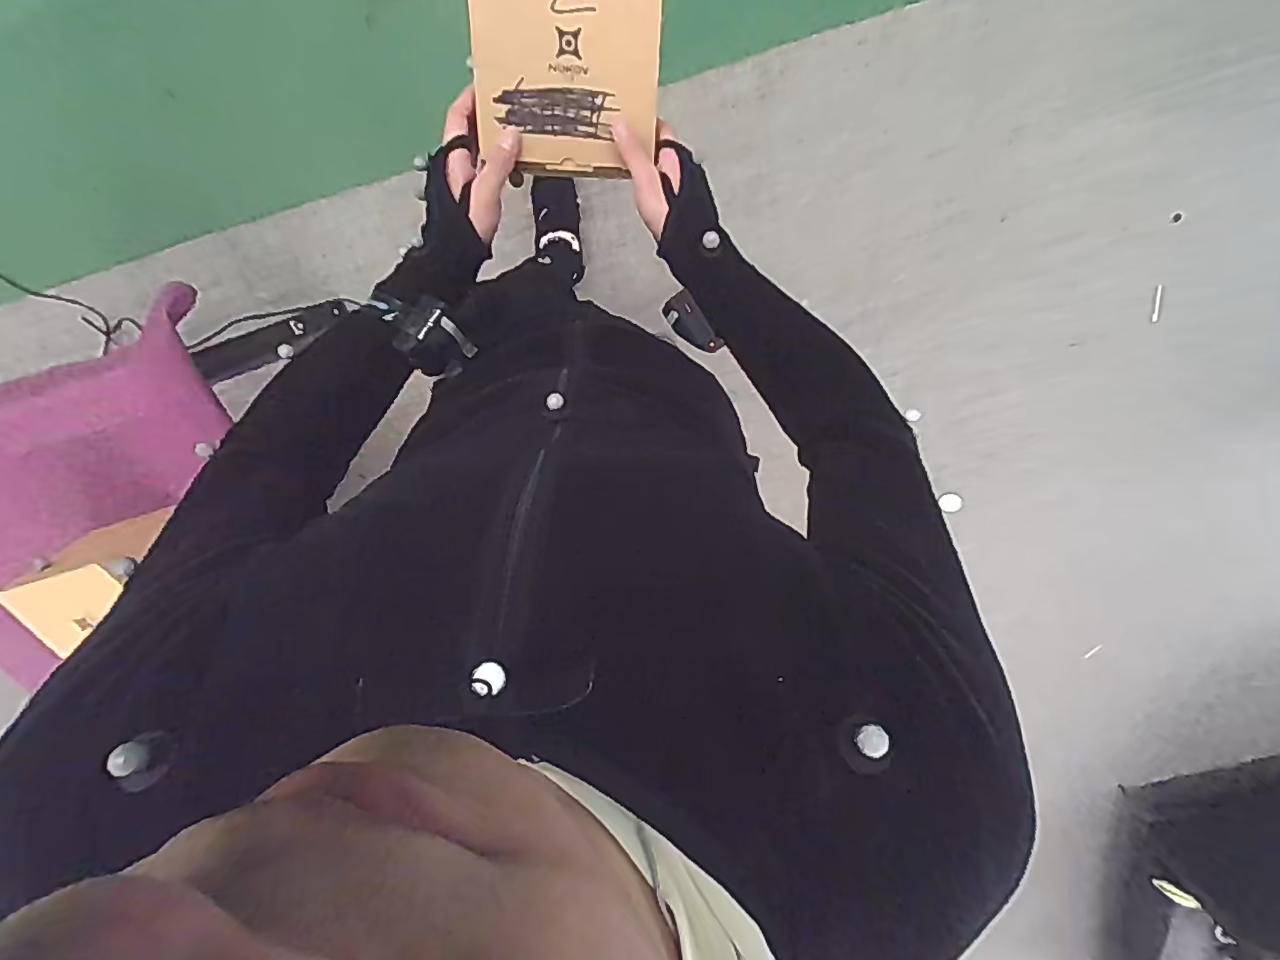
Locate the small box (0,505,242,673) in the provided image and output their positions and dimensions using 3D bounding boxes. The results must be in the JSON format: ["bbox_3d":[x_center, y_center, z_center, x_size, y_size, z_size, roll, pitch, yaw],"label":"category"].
[{"bbox_3d":[-0.786,0.163,0.842,0.179,0.176,0.168,-16,117,5],"label":"small box"}]
